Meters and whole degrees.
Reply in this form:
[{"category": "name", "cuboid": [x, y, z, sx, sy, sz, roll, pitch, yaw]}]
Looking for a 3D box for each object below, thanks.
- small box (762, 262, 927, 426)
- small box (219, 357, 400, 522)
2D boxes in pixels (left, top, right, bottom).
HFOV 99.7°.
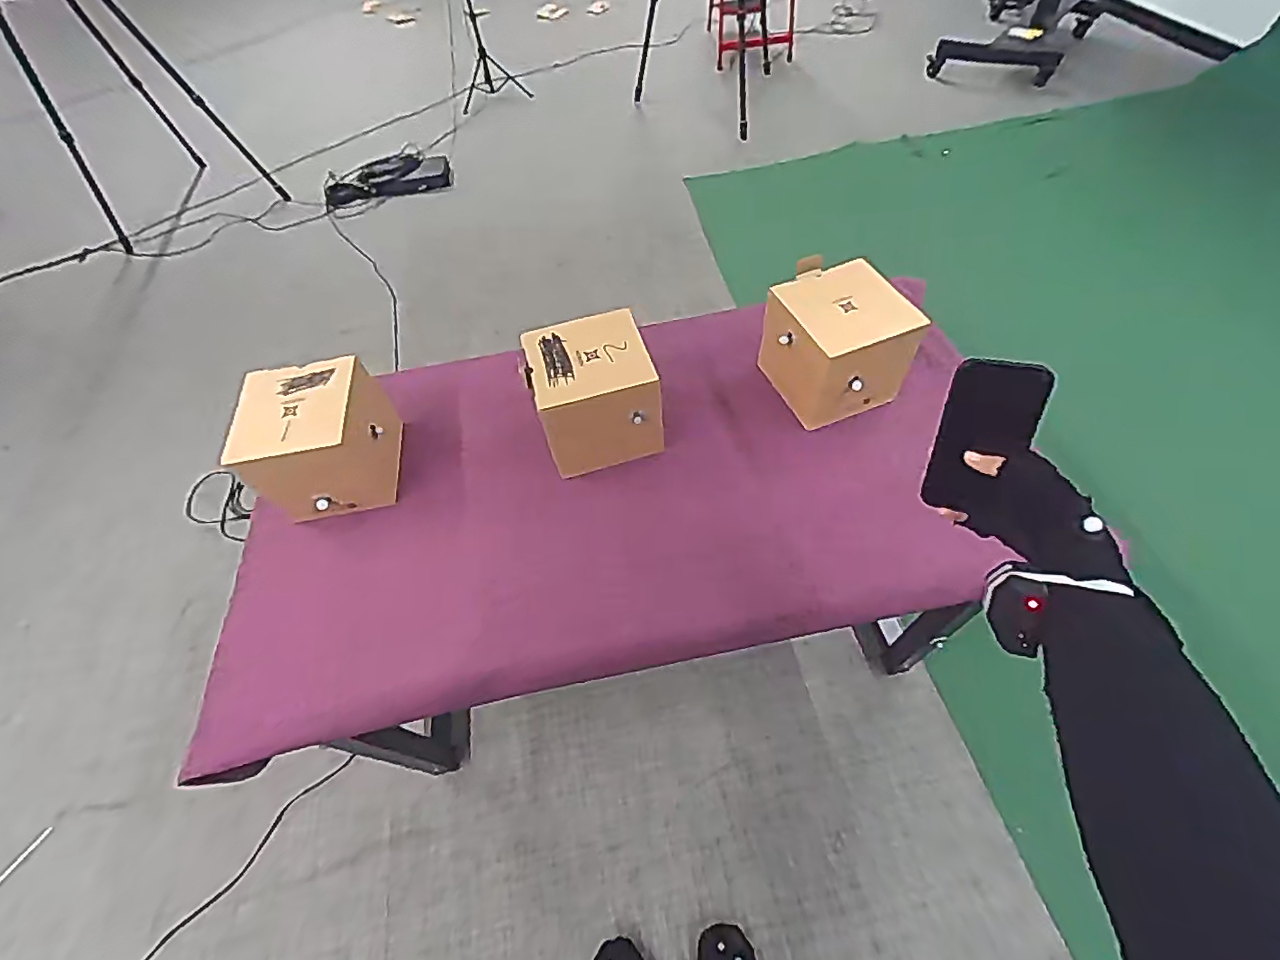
[{"category": "small box", "cuboid": [0.311, -0.208, 0.866, 0.168, 0.176, 0.179, -20, 56, -8]}, {"category": "small box", "cuboid": [-0.489, -0.059, 0.835, 0.168, 0.176, 0.179, -10, 57, -2]}]
